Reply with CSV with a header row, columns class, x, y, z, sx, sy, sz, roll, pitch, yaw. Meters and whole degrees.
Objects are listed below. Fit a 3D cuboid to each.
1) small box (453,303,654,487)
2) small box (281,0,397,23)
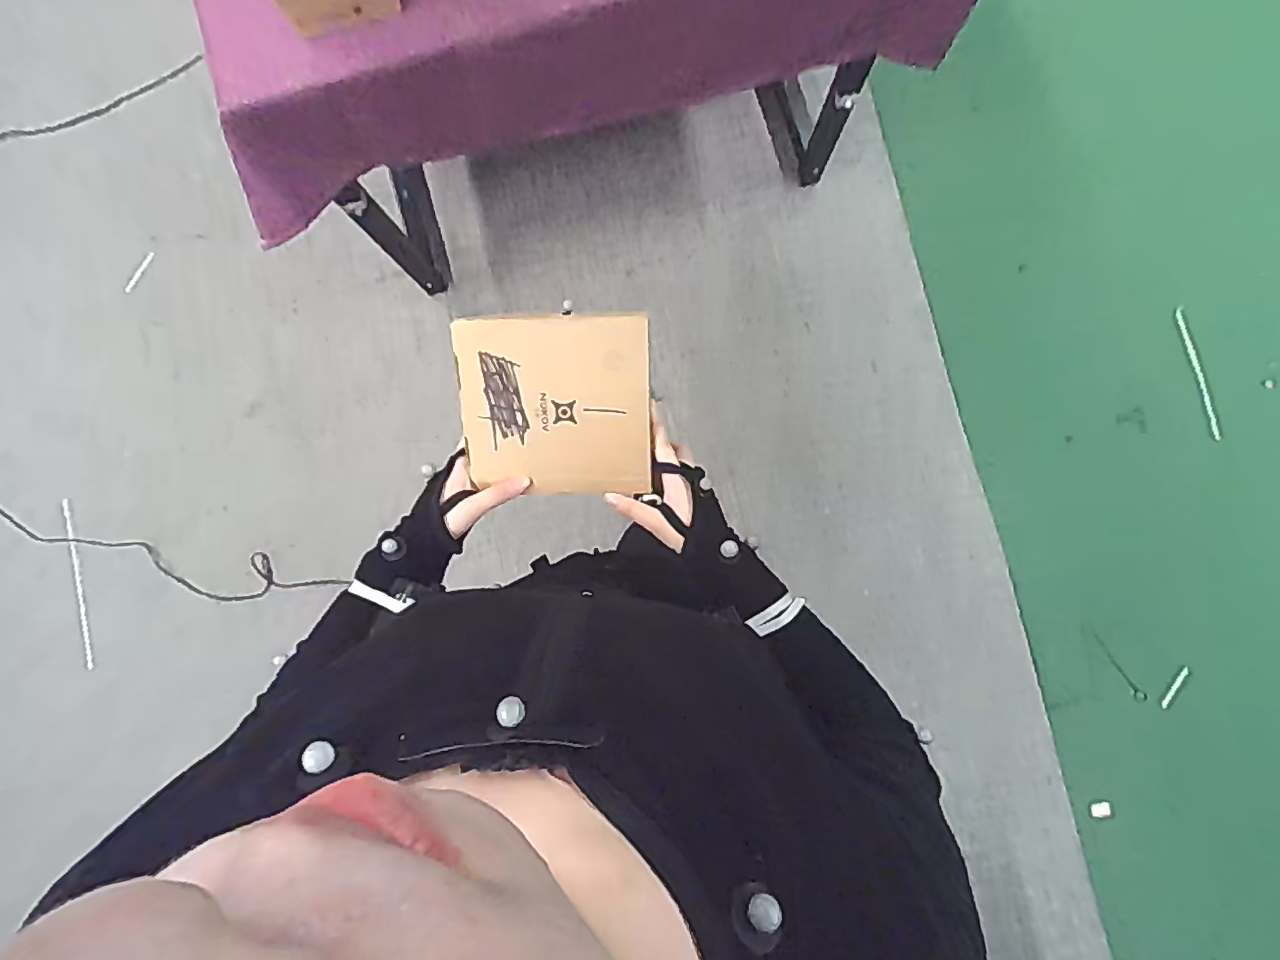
class,x,y,z,sx,sy,sz,roll,pitch,yaw
small box,-0.074,-0.096,0.567,0.179,0.176,0.168,-1,110,0
small box,-0.466,-0.797,0.762,0.168,0.176,0.179,-13,85,0
